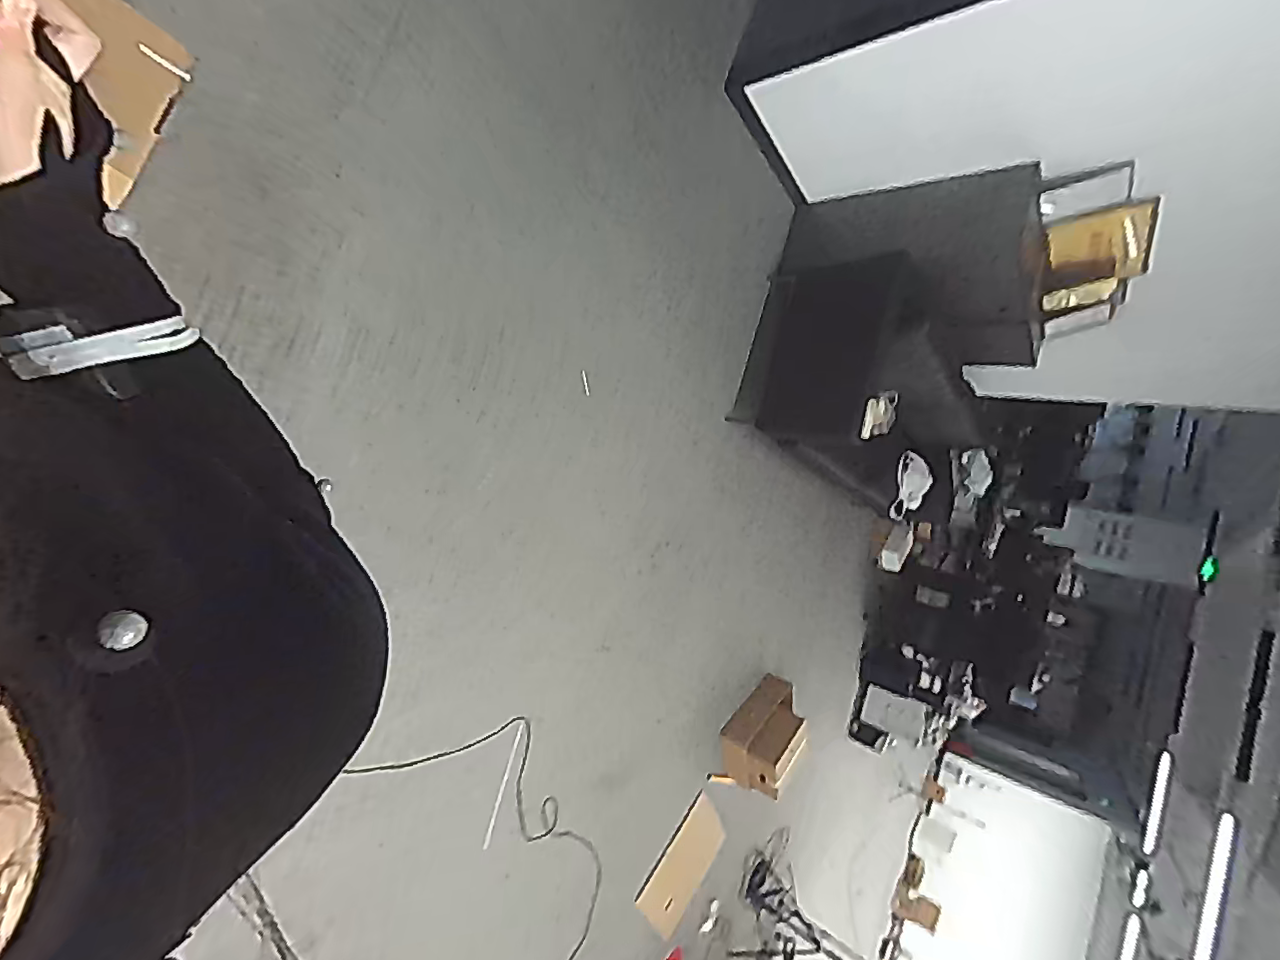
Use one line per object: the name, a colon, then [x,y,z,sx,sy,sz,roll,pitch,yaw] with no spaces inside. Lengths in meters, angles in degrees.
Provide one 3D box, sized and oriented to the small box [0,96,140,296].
small box: [-0.822,-0.369,0.719,0.168,0.176,0.179,31,73,-48]
